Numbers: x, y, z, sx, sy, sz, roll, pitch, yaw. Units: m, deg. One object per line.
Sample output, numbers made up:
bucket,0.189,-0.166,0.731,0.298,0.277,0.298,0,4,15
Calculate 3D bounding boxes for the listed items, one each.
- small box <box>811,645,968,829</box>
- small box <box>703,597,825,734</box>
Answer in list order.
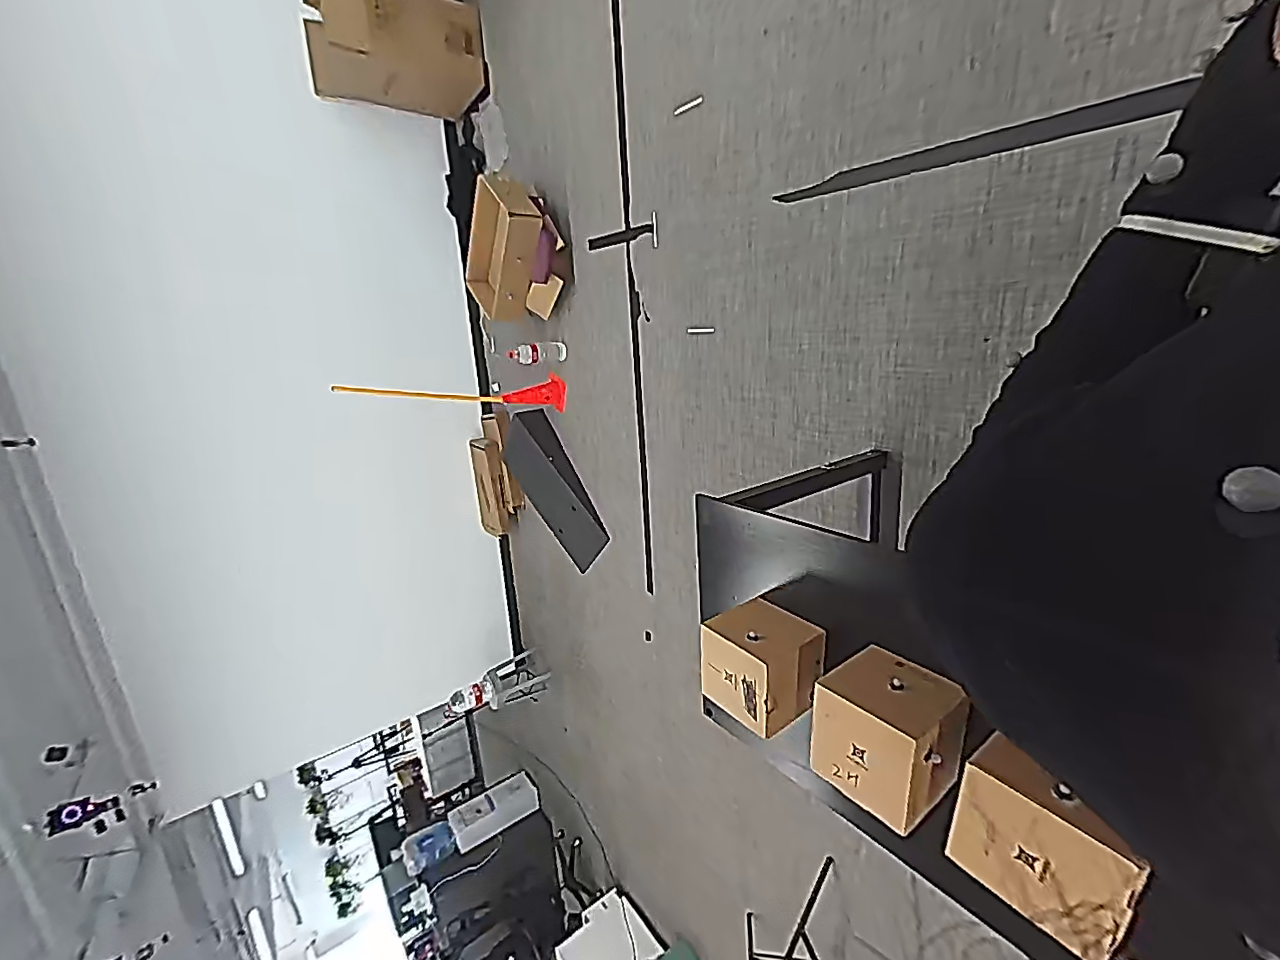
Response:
small box,0.401,0.397,0.872,0.168,0.176,0.179,20,118,51
small box,0.246,0.356,1.078,0.179,0.176,0.168,20,118,51
